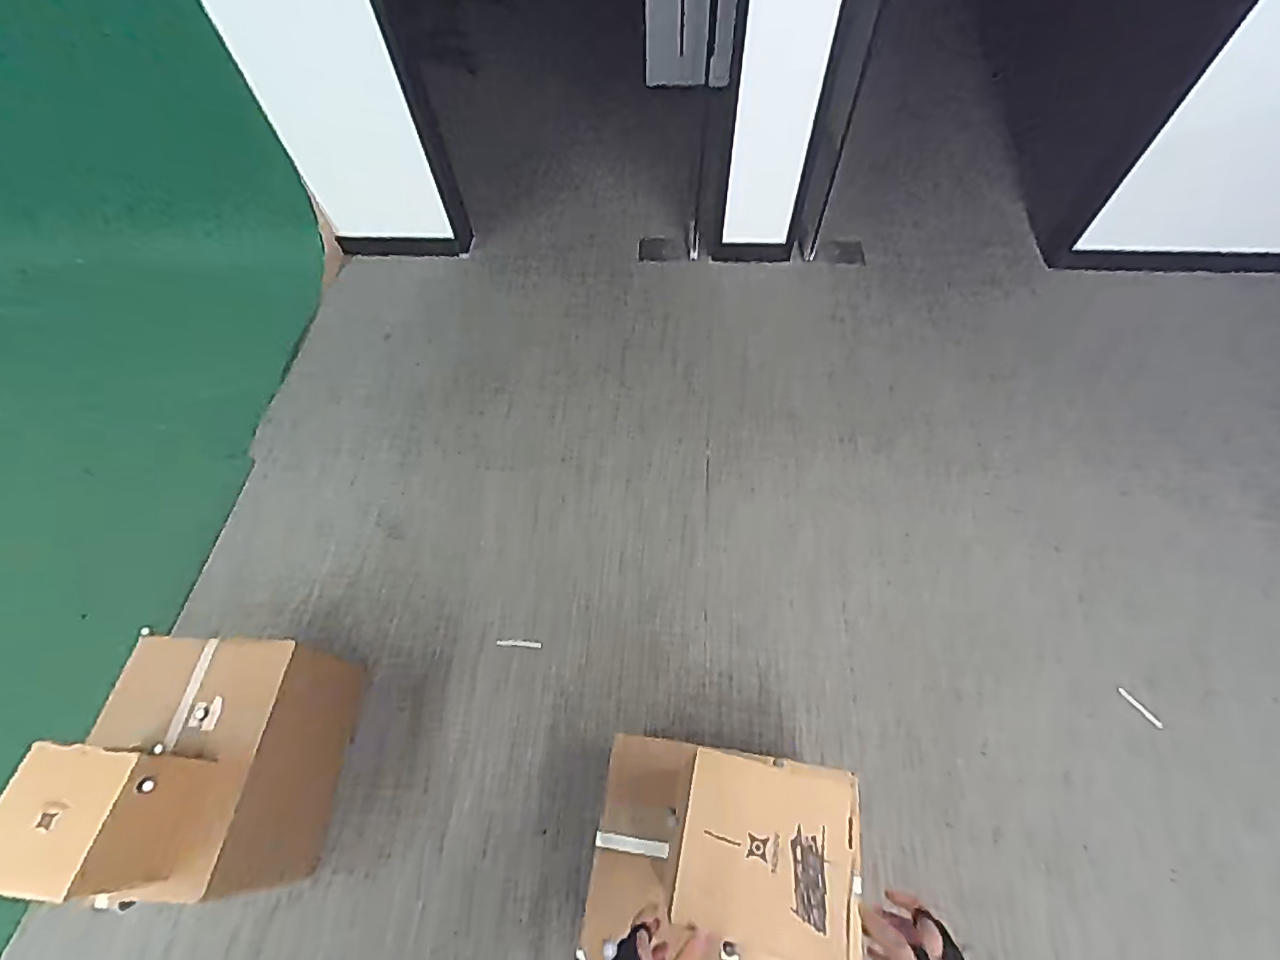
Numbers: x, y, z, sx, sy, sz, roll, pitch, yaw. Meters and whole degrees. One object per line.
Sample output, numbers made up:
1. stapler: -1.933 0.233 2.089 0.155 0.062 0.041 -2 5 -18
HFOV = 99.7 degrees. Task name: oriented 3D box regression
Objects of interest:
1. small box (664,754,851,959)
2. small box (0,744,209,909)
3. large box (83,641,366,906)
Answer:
1. small box: 0.130 0.438 0.631 0.179 0.176 0.168 11 57 9
2. small box: -0.804 0.508 0.804 0.168 0.176 0.179 5 58 4
3. large box: -0.807 0.561 1.059 0.320 0.320 0.408 2 58 3
